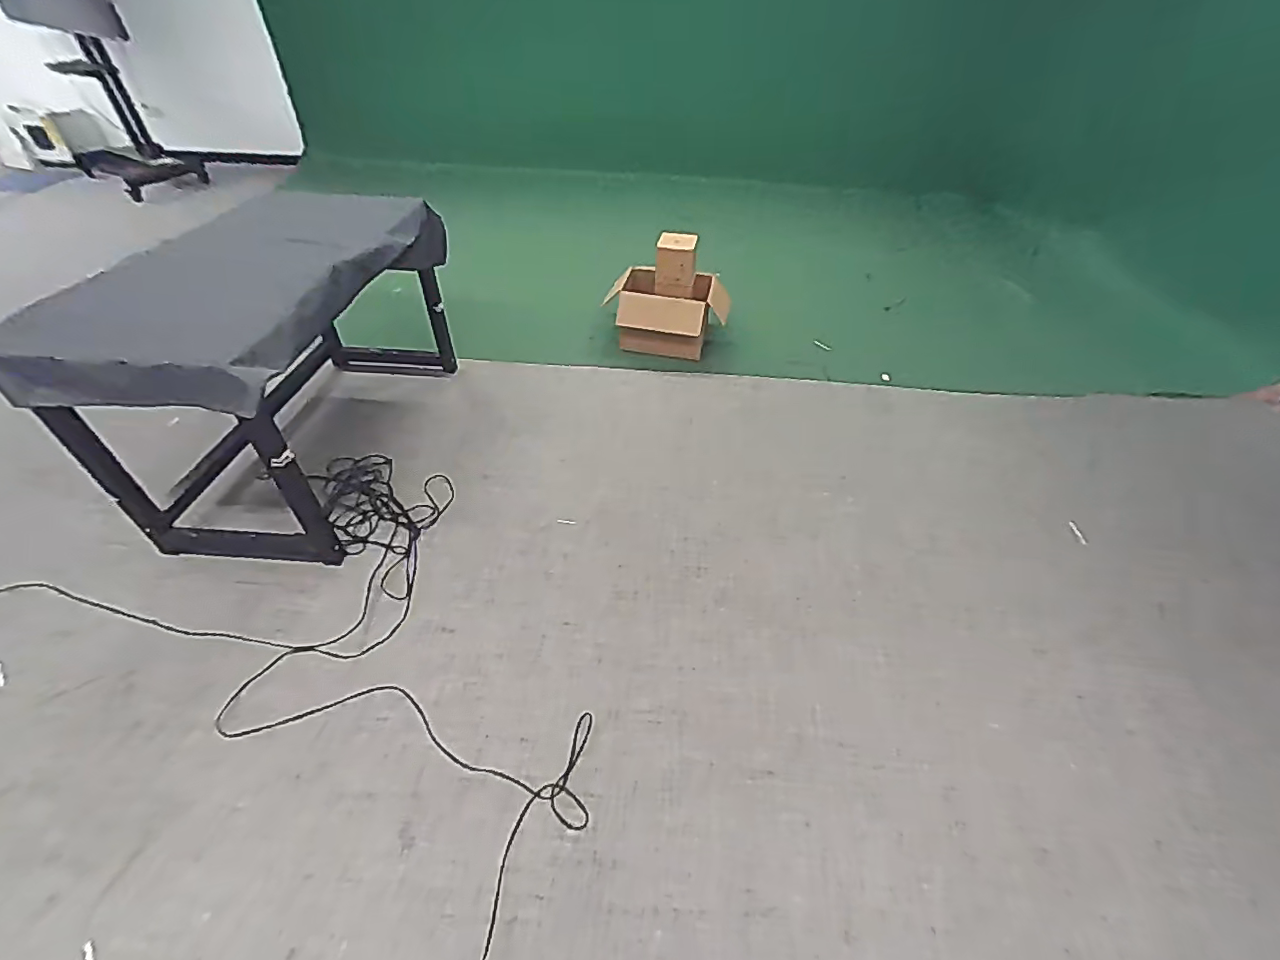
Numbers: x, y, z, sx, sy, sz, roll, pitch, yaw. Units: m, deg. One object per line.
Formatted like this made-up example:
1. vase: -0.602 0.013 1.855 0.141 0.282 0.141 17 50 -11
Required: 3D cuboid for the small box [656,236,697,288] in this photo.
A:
1. small box: 0.165 -0.993 2.470 0.168 0.176 0.179 8 43 6
